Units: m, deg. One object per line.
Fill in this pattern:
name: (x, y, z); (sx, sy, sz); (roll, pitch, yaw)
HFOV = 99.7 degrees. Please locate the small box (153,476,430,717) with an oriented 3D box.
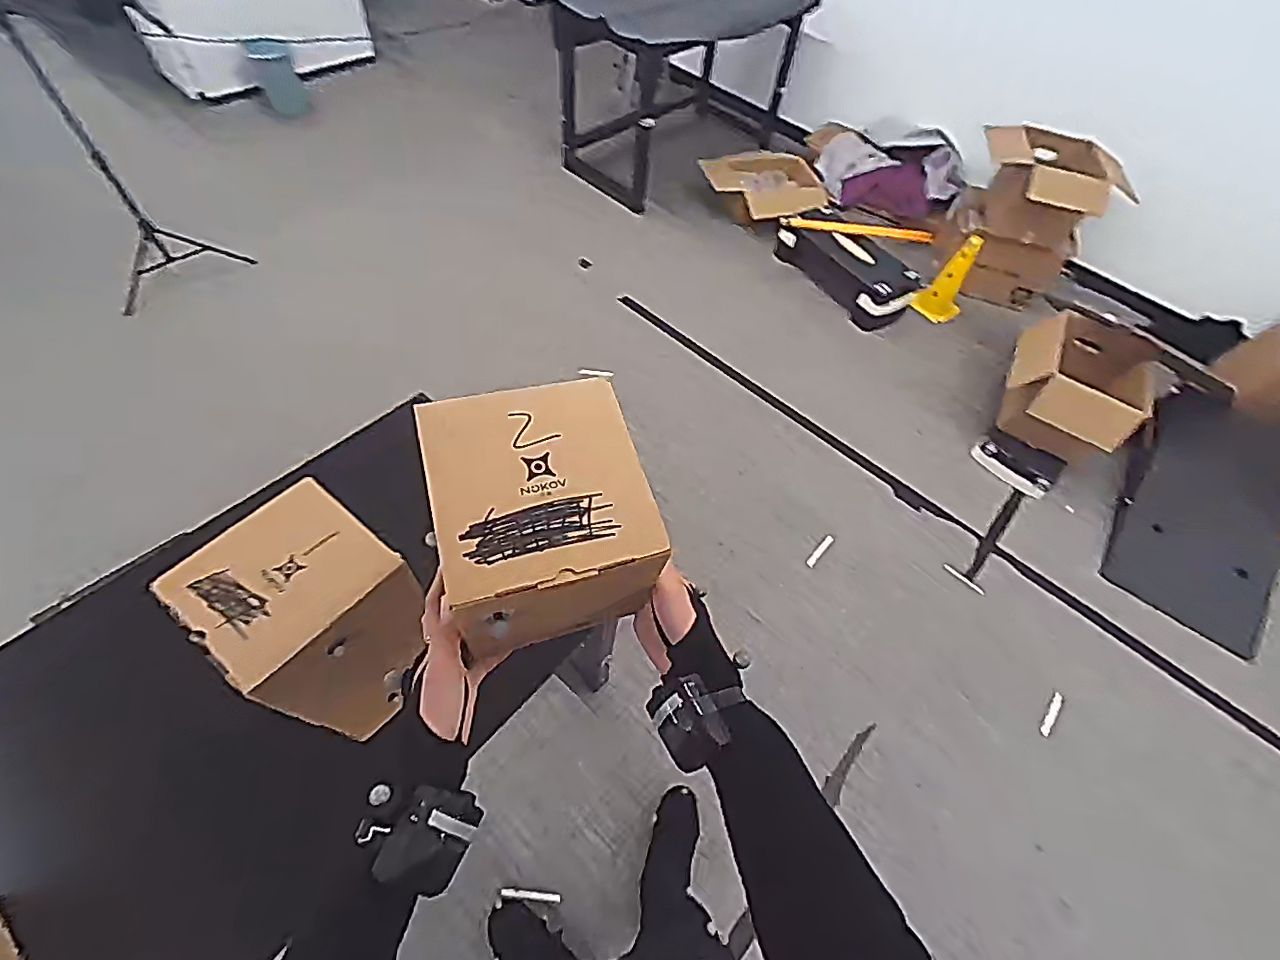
small box: (-0.369, 0.137, 0.612); (0.168, 0.176, 0.179); (36, 59, 16)

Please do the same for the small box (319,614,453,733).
small box: (-0.390, 0.222, 0.751); (0.179, 0.176, 0.168); (39, 61, 17)
